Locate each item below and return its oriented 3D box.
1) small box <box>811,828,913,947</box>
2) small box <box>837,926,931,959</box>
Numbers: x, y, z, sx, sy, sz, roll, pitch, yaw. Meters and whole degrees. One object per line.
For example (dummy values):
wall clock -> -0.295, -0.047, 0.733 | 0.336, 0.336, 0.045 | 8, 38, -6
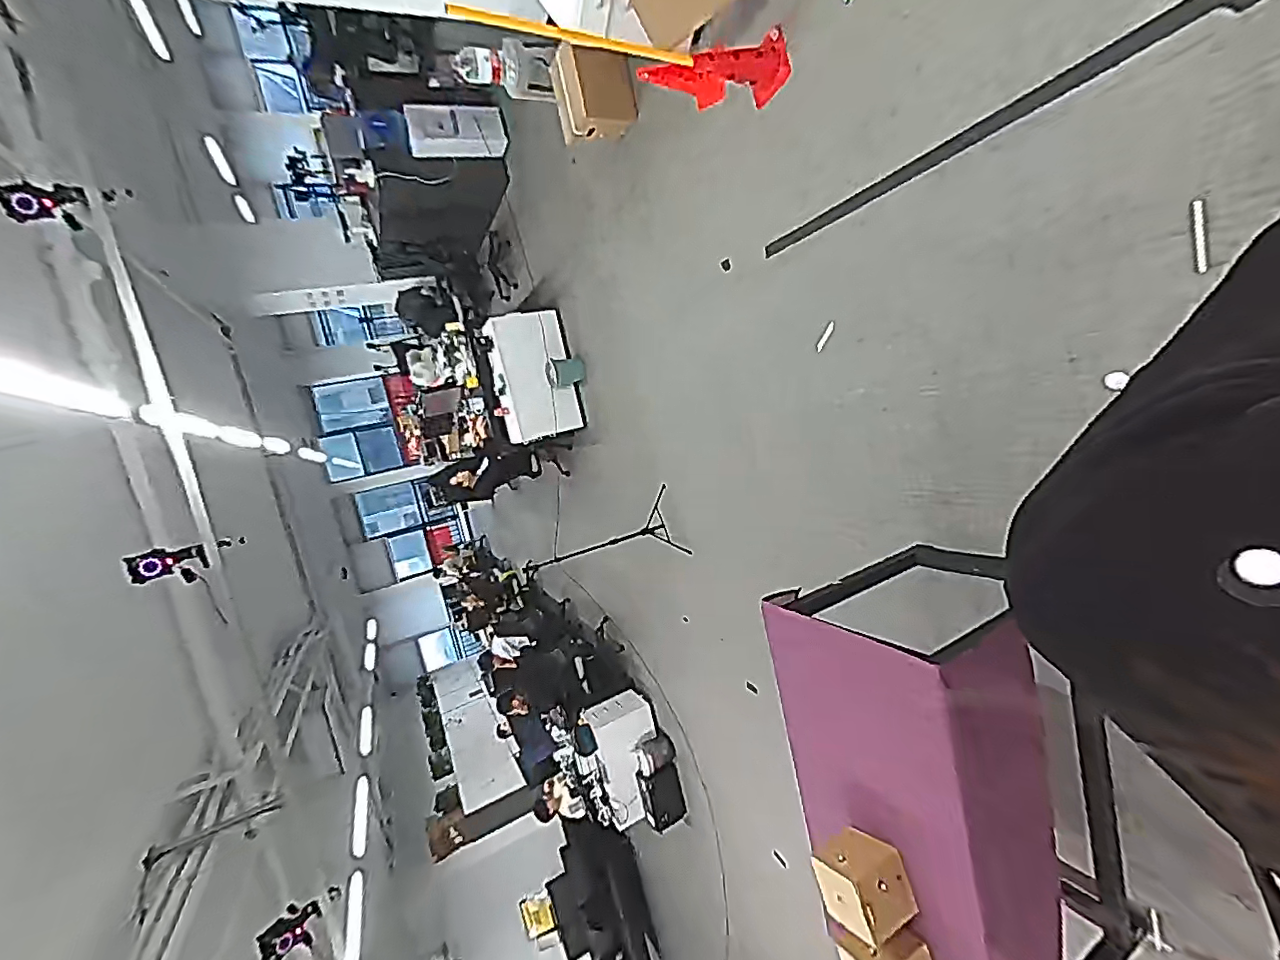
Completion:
small box -> 0.608, 1.089, 1.466 | 0.179, 0.176, 0.168 | -29, 78, 65
small box -> 0.677, 1.330, 1.460 | 0.179, 0.176, 0.168 | -26, 80, 66
